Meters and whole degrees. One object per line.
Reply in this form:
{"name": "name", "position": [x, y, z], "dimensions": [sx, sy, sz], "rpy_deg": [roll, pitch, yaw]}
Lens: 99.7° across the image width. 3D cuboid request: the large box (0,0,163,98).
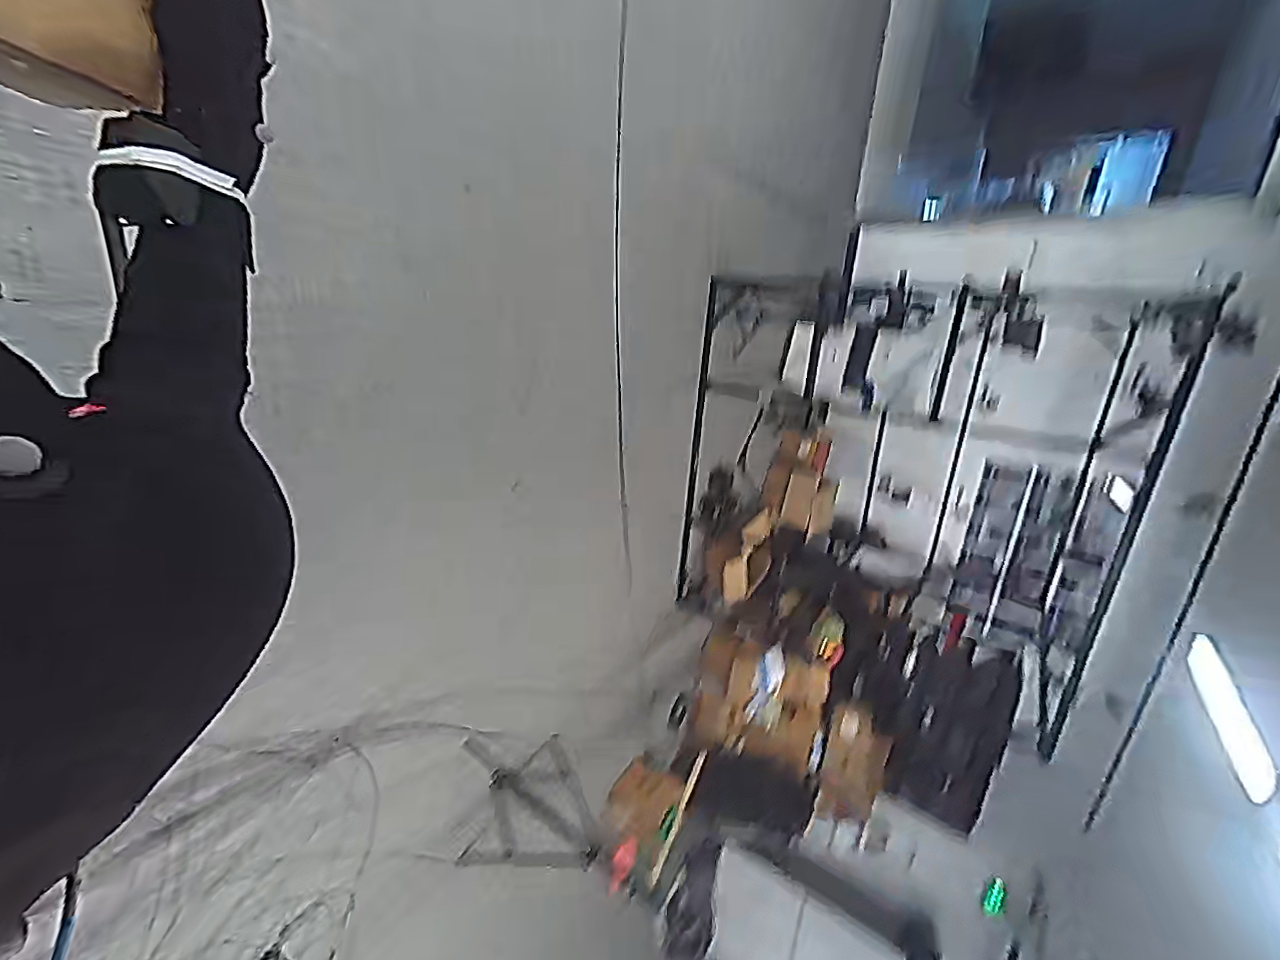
{"name": "large box", "position": [-0.547, -0.476, 0.283], "dimensions": [0.408, 0.320, 0.320], "rpy_deg": [0, 111, -58]}
